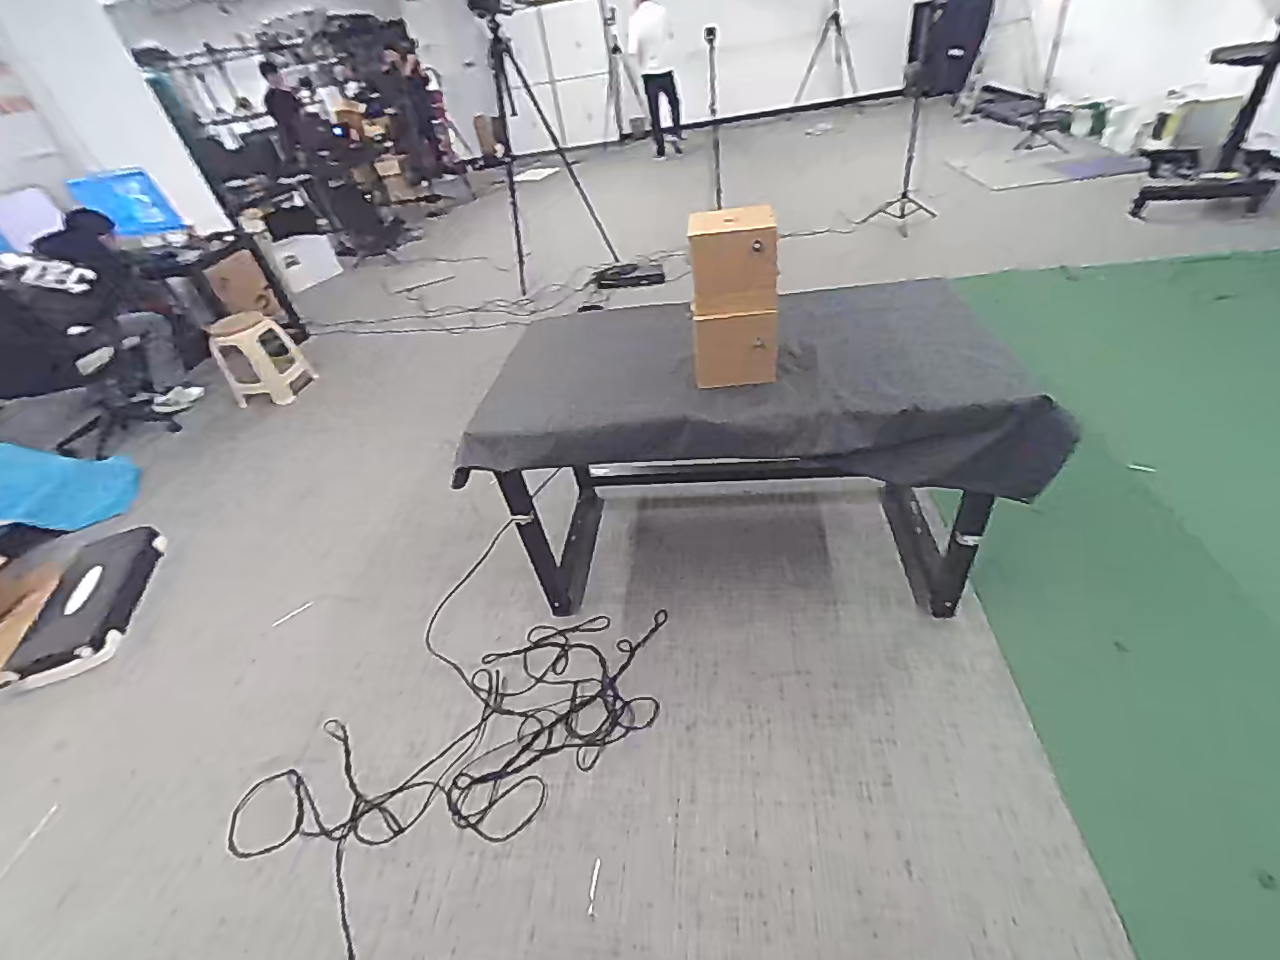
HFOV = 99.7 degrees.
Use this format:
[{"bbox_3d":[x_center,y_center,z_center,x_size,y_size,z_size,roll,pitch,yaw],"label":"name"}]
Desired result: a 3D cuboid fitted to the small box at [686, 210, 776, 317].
[{"bbox_3d":[0.195,-0.459,1.153,0.179,0.176,0.168,-2,39,9],"label":"small box"}]
